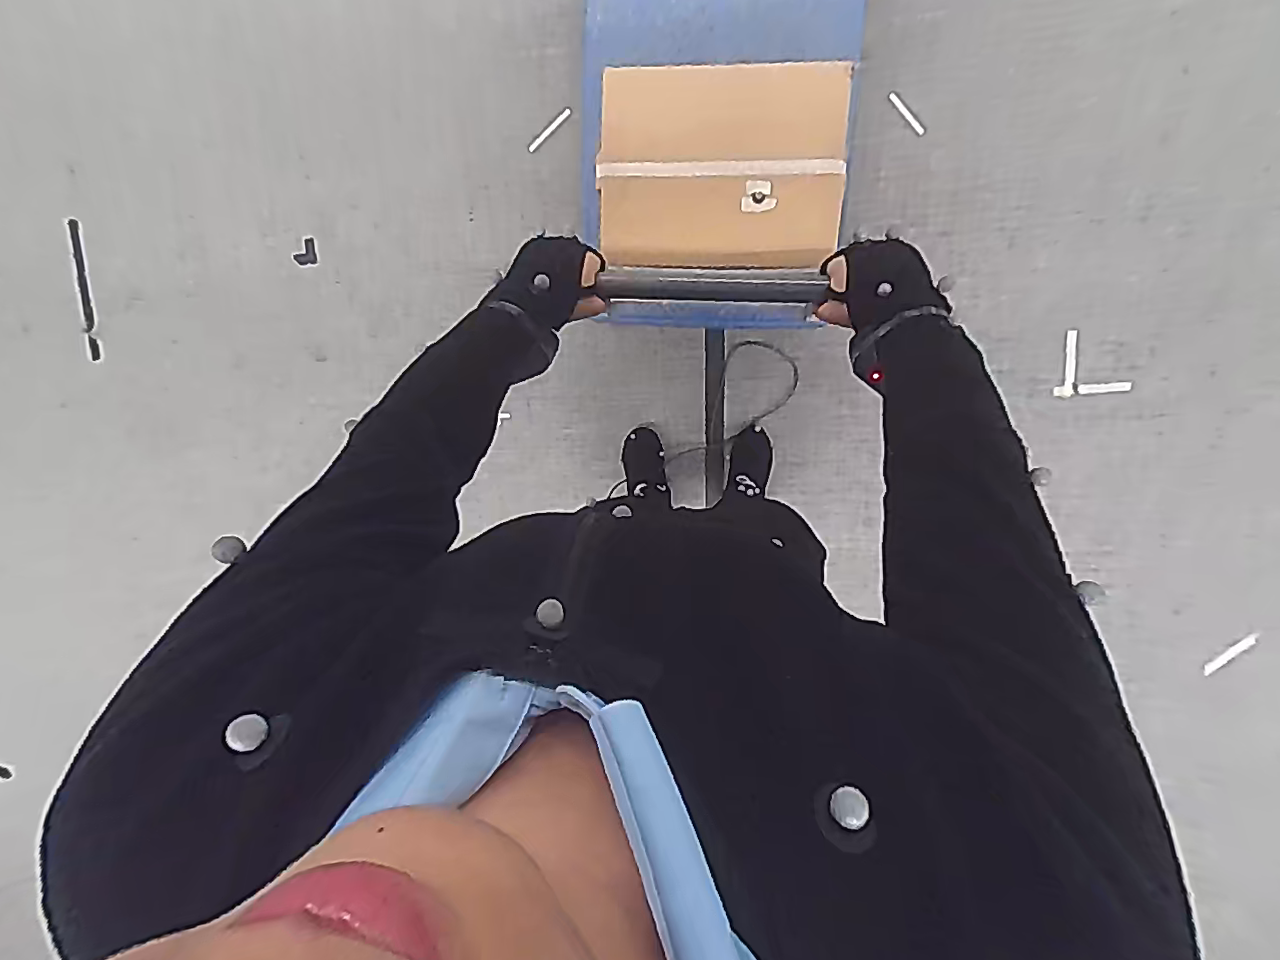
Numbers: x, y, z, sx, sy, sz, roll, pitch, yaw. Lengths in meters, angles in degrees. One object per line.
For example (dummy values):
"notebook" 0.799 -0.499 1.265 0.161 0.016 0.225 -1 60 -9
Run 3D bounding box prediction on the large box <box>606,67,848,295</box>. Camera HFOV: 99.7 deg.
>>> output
"large box" 0.152 -0.551 1.066 0.408 0.320 0.320 2 101 5
